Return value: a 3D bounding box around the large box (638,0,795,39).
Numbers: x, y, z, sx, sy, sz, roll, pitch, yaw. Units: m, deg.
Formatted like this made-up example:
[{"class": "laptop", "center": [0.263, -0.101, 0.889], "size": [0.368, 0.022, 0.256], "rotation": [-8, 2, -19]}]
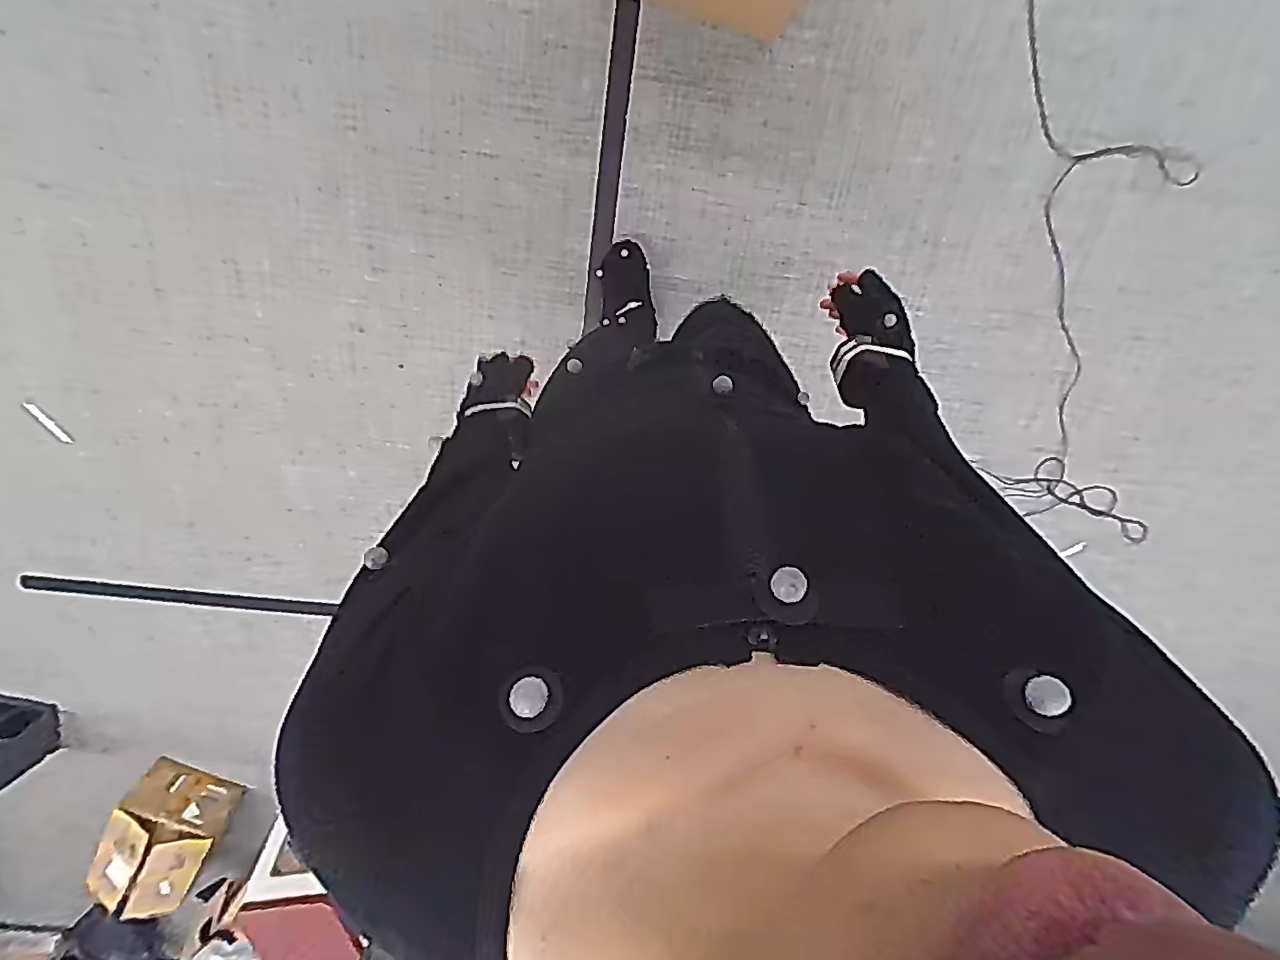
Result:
[{"class": "large box", "center": [0.125, -1.063, 0.946], "size": [0.408, 0.320, 0.320], "rotation": [12, 111, -7]}]
